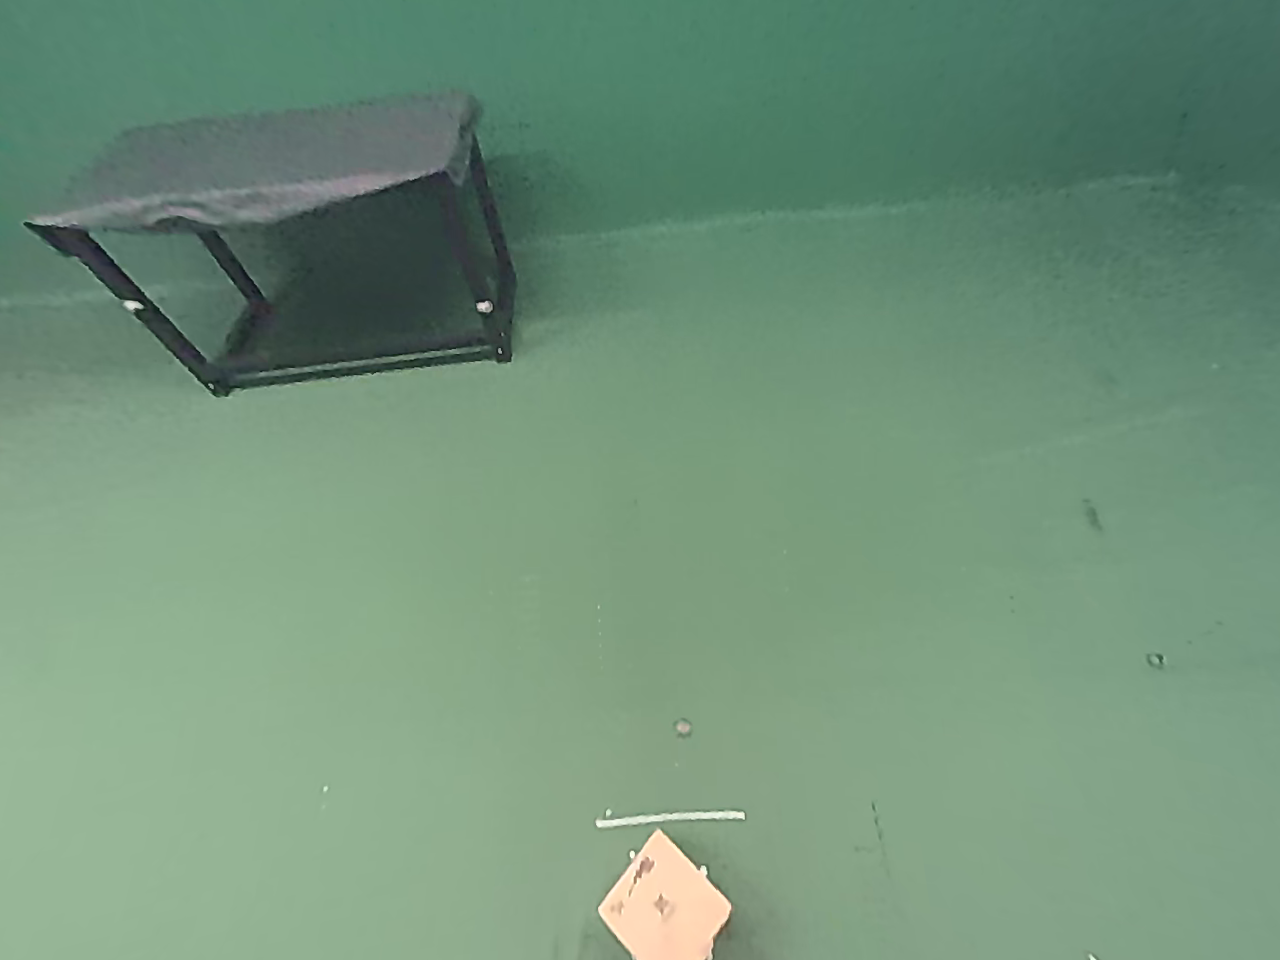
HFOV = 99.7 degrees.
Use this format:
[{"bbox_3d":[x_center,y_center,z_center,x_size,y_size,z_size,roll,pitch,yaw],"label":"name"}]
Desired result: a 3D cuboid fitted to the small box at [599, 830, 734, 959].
[{"bbox_3d":[0.052,0.783,0.988,0.179,0.176,0.168,34,62,28],"label":"small box"}]
